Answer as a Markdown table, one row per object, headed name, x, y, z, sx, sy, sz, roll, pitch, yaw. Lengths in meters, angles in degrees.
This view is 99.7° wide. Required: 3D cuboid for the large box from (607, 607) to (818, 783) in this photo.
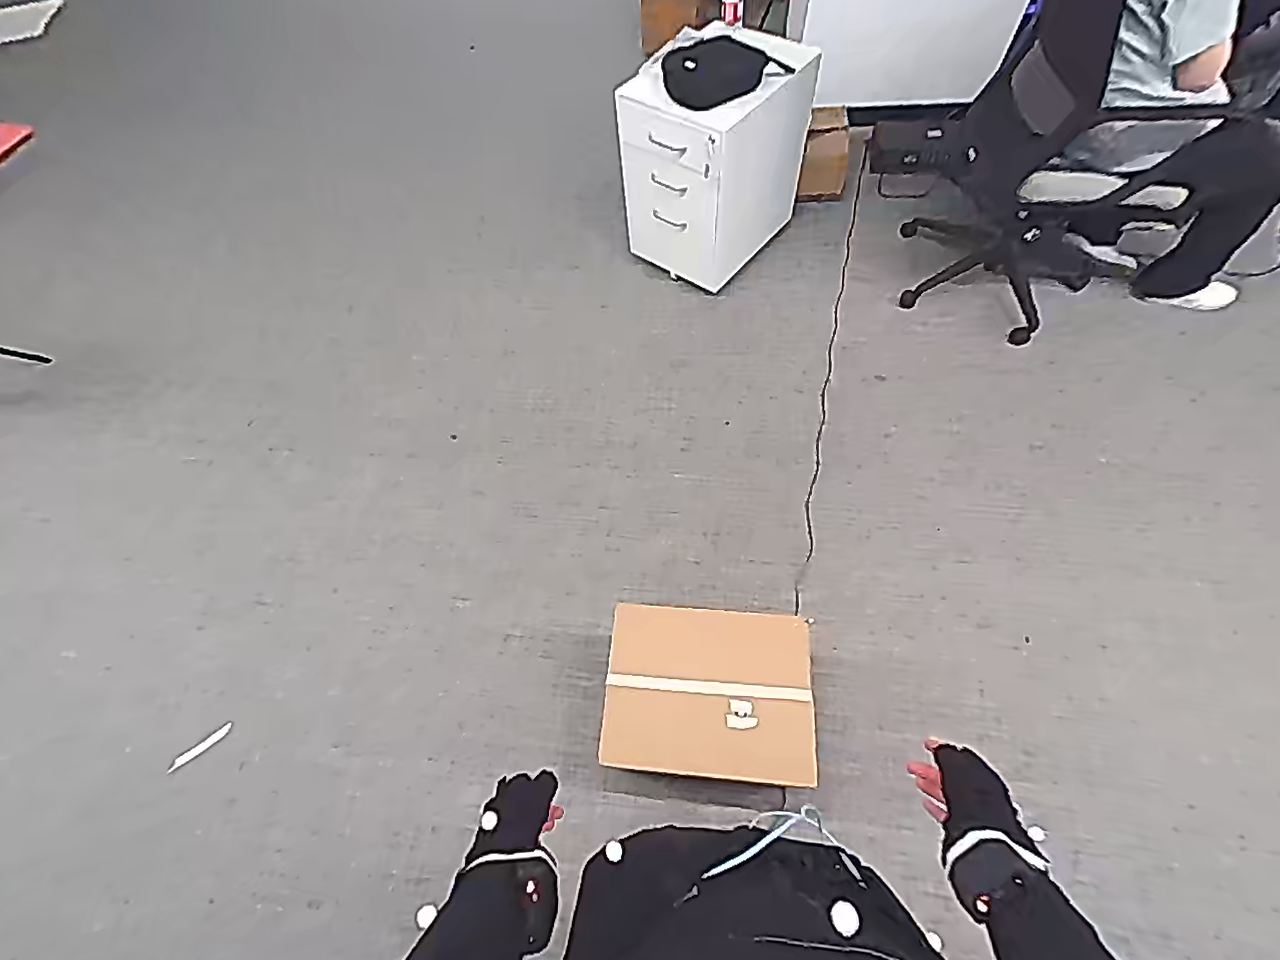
| name | x | y | z | sx | sy | sz | roll | pitch | yaw |
| --- | --- | --- | --- | --- | --- | --- | --- | --- | --- |
| large box | 0.151 | 0.489 | 1.214 | 0.408 | 0.320 | 0.320 | 3 | 62 | 6 |
